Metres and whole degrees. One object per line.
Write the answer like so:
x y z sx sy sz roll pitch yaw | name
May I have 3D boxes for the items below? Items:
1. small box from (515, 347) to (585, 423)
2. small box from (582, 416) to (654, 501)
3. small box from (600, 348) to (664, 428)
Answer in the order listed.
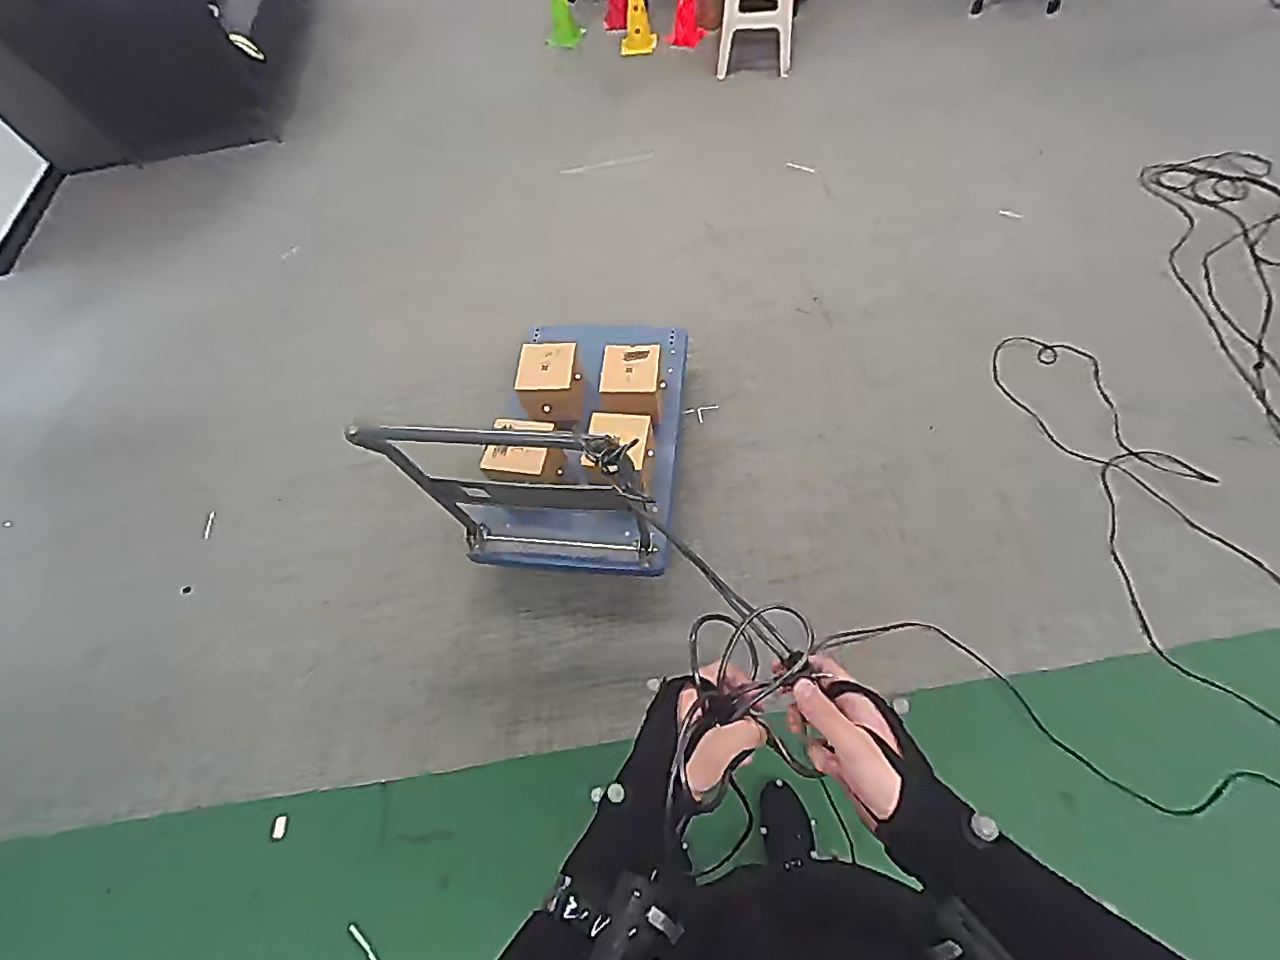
-0.271 -0.290 1.678 0.168 0.176 0.179 0 62 7 | small box
-0.055 -0.059 1.529 0.168 0.176 0.179 5 63 10 | small box
-0.019 -0.278 1.639 0.168 0.176 0.179 1 63 9 | small box
